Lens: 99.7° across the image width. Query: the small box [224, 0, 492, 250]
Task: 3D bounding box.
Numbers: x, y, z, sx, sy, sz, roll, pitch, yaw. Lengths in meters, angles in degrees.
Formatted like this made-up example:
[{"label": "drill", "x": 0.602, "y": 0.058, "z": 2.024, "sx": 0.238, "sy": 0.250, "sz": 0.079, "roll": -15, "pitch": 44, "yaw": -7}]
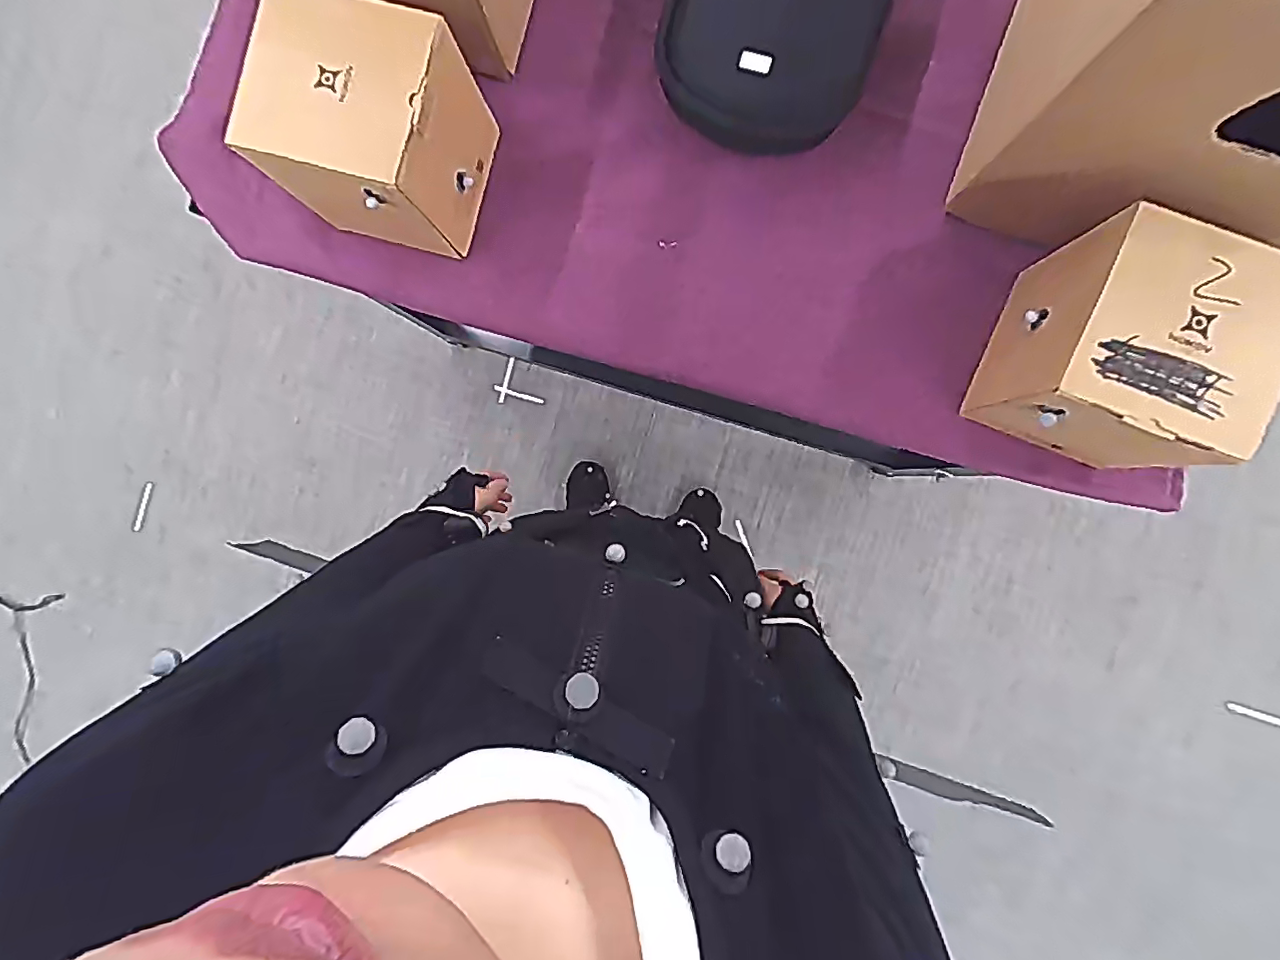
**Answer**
[{"label": "small box", "x": -0.285, "y": -0.374, "z": 0.584, "sx": 0.179, "sy": 0.176, "sz": 0.168, "roll": 14, "pitch": 90, "yaw": 2}]
